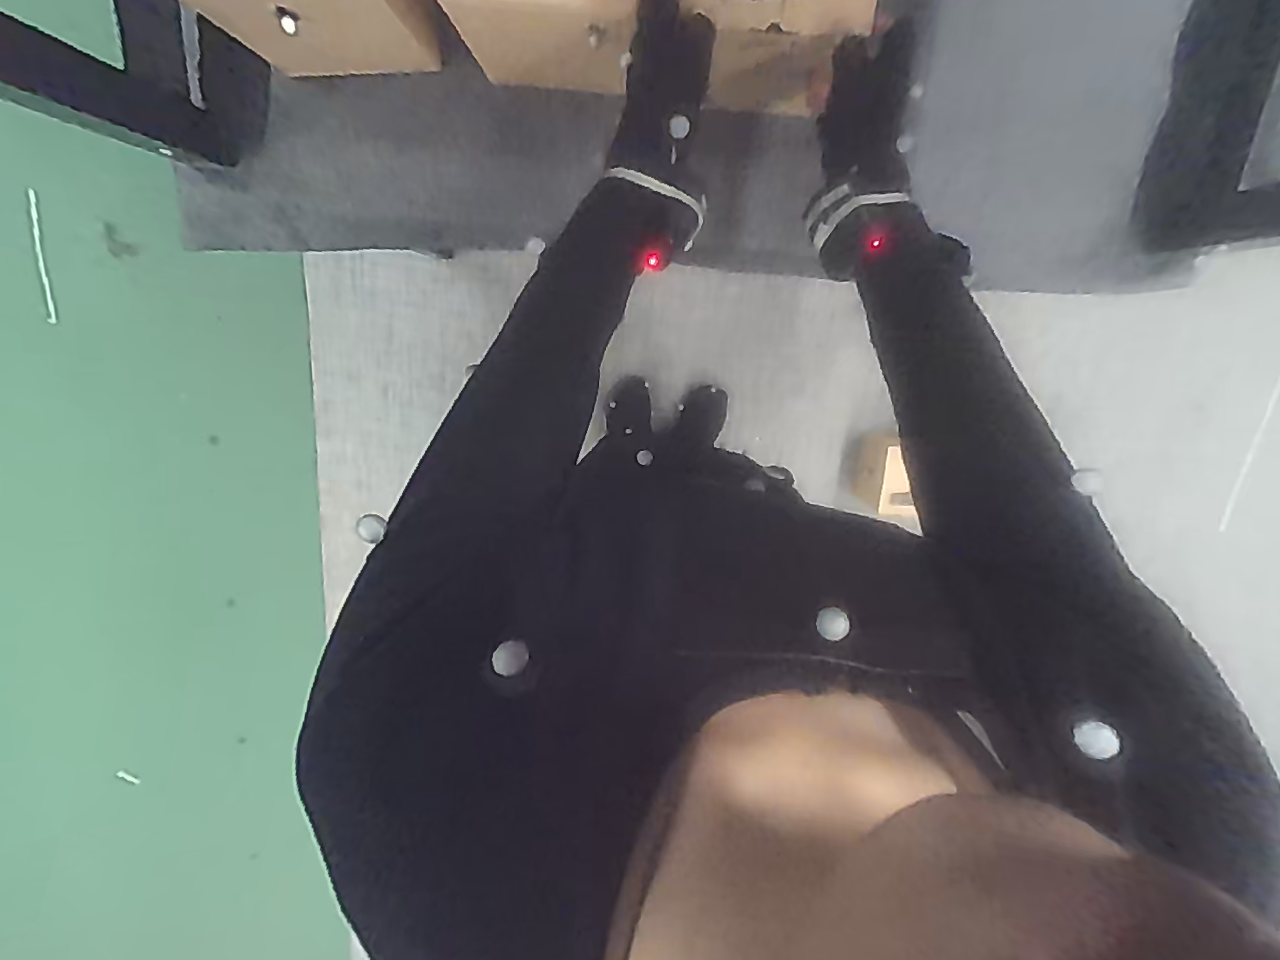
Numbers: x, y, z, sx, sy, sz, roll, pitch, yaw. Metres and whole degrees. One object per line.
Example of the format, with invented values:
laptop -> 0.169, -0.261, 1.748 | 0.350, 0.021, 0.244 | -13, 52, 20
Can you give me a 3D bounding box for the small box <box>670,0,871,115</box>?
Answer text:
small box -> 0.117, -0.475, 0.509 | 0.168, 0.176, 0.179 | 4, 105, 0
